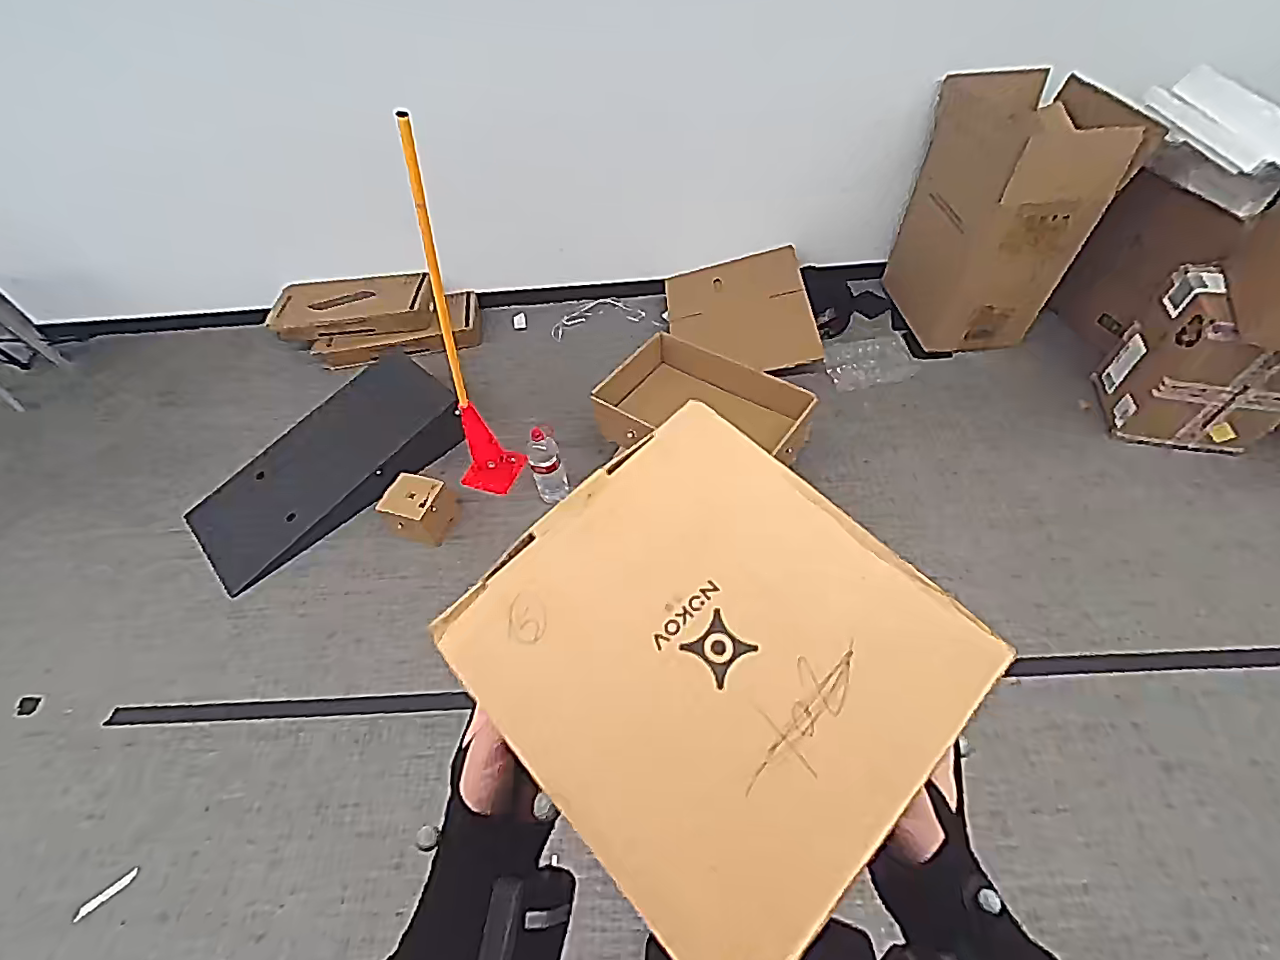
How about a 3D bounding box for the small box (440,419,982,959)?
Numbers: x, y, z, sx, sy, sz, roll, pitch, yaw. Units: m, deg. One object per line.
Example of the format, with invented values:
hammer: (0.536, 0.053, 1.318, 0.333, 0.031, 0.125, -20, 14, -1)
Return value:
small box: (0.029, 0.107, 0.303, 0.168, 0.176, 0.179, -42, 70, -16)
